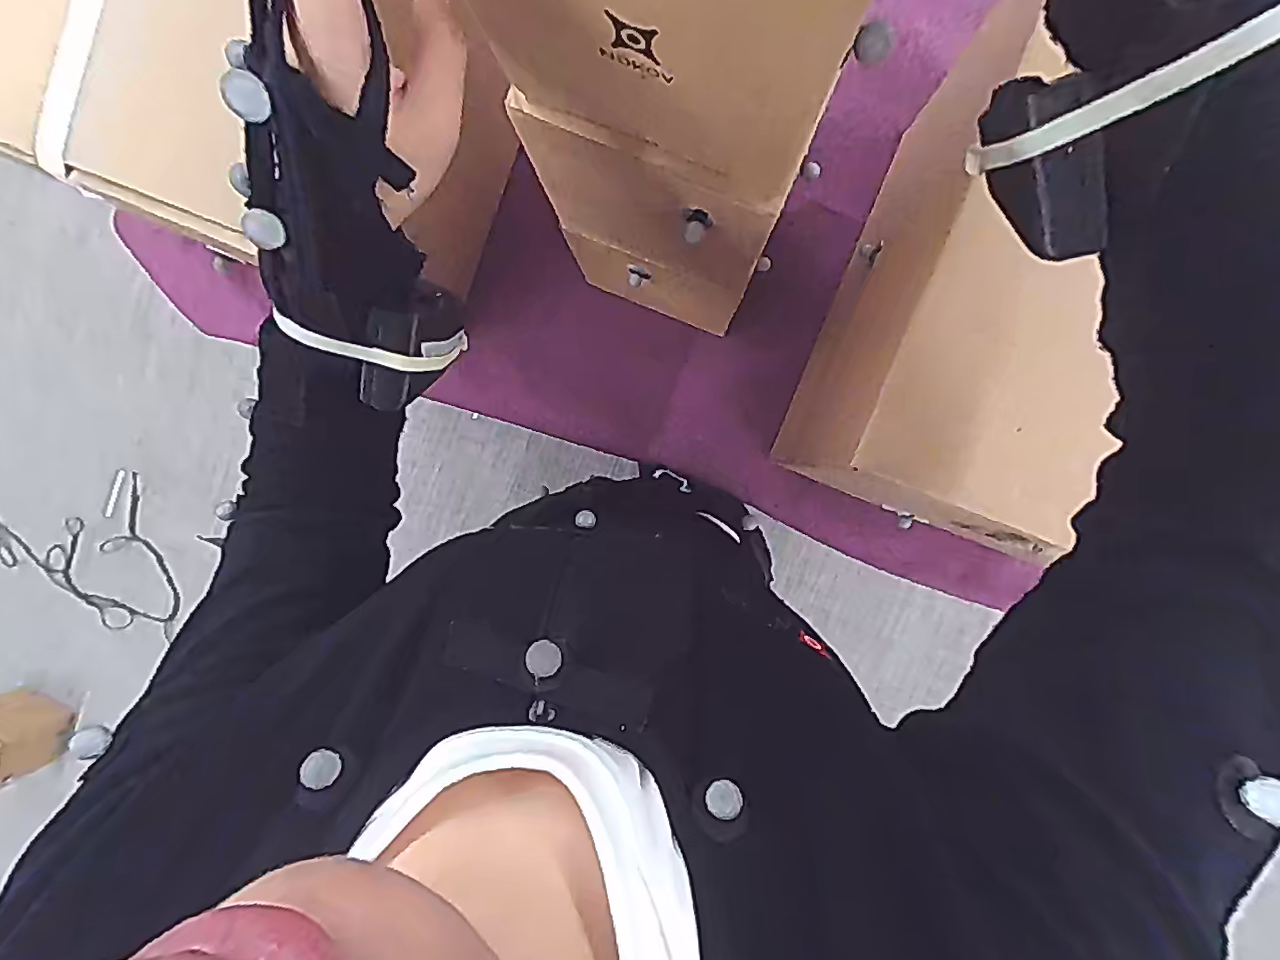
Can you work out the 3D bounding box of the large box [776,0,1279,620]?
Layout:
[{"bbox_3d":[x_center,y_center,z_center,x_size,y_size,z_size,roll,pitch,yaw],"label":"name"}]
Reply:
[{"bbox_3d":[0.351,-0.146,0.463,0.320,0.320,0.408,21,93,2],"label":"large box"}]
